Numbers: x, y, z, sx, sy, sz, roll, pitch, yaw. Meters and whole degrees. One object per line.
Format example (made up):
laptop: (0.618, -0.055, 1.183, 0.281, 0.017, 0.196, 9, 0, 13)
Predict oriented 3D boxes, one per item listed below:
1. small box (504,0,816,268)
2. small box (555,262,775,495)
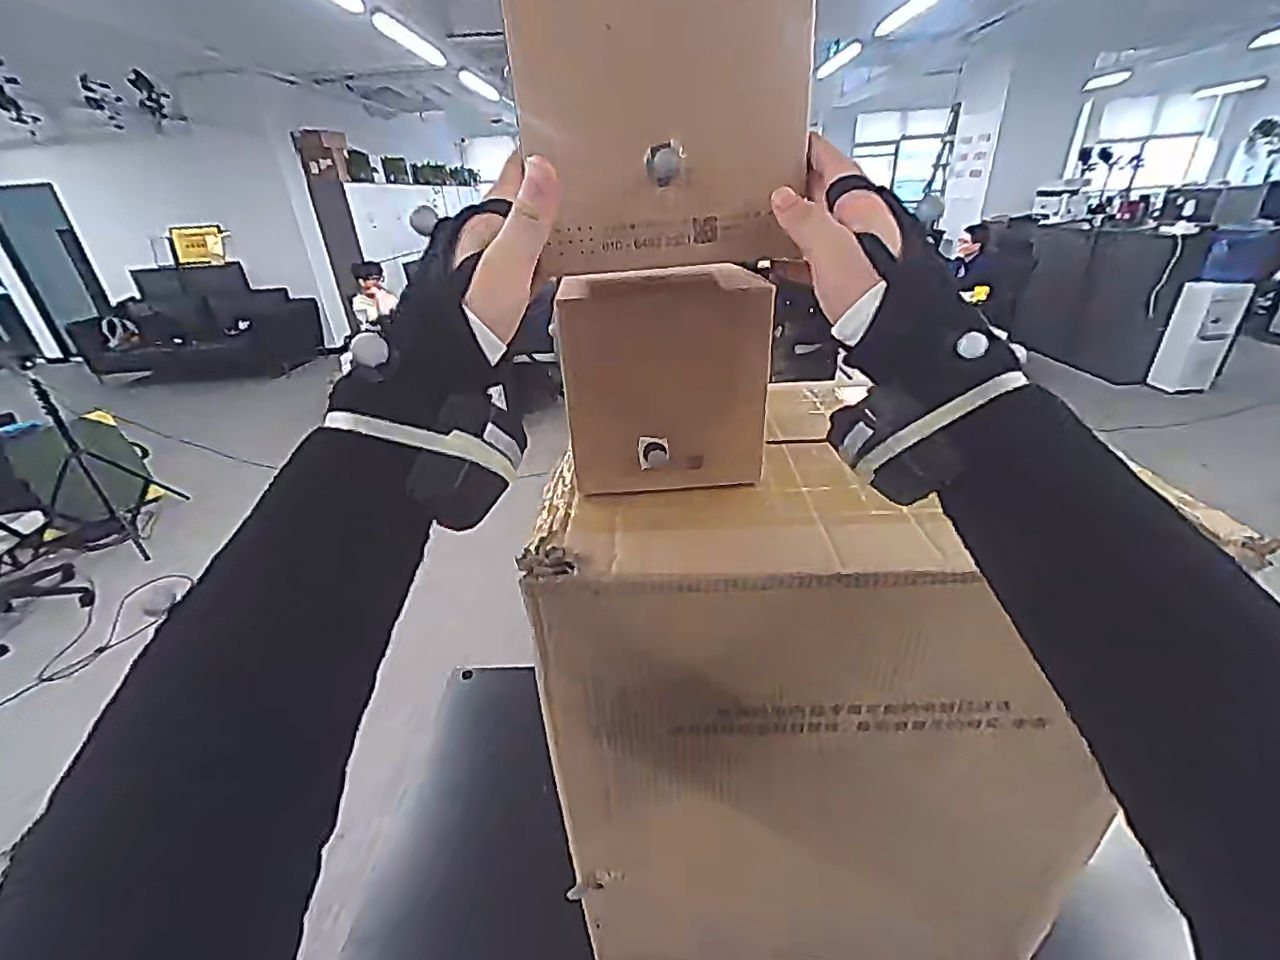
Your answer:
small box: (0.009, -0.240, 0.369, 0.168, 0.176, 0.179, -5, 25, 0)
small box: (0.017, -0.101, 0.504, 0.168, 0.176, 0.179, -5, 28, -3)
